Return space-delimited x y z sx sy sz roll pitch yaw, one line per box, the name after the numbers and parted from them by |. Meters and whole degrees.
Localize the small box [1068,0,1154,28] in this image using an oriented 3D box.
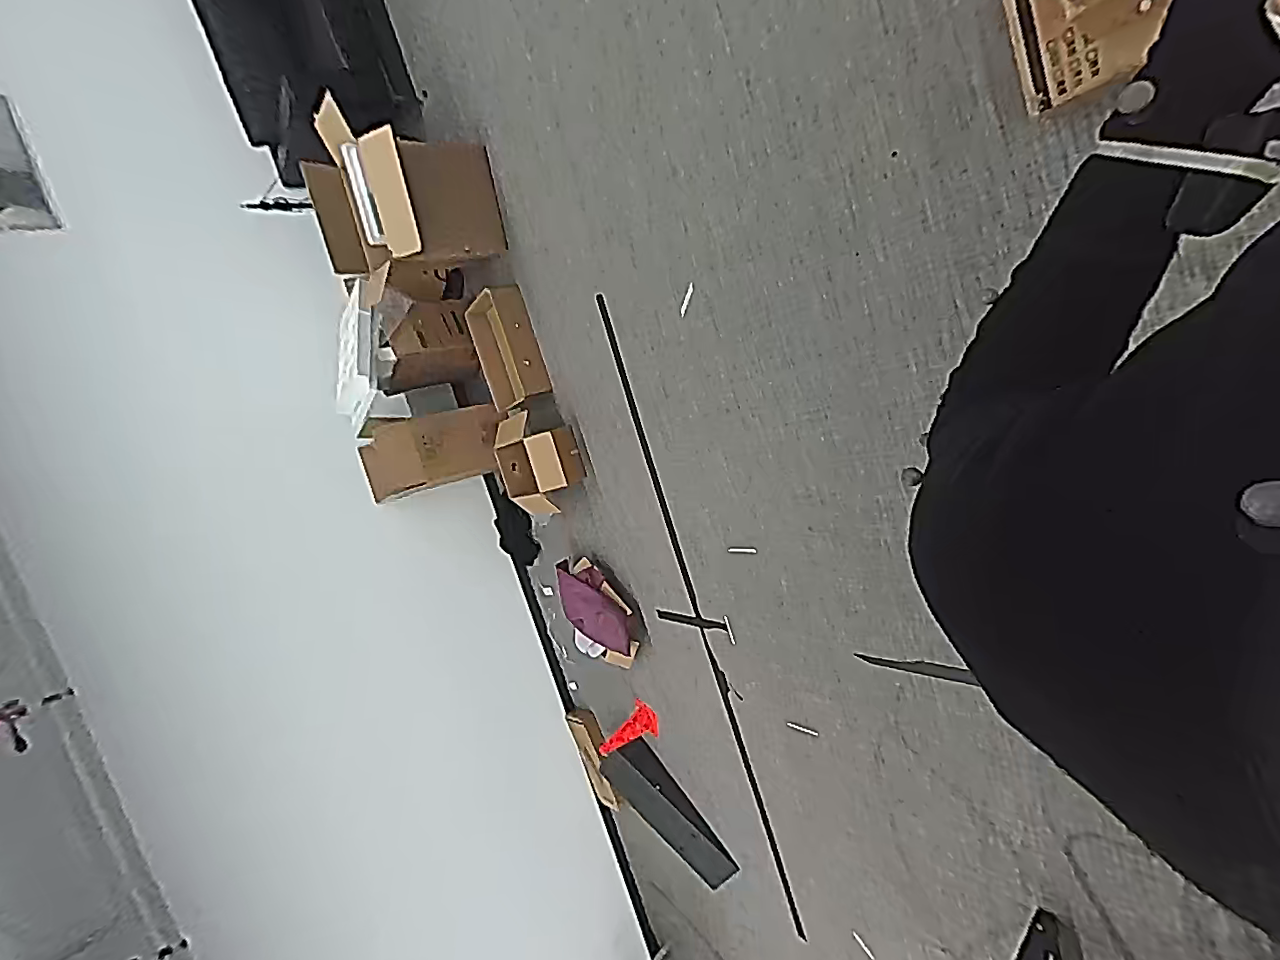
0.769 -0.853 0.834 0.168 0.176 0.179 -11 99 54 | small box
